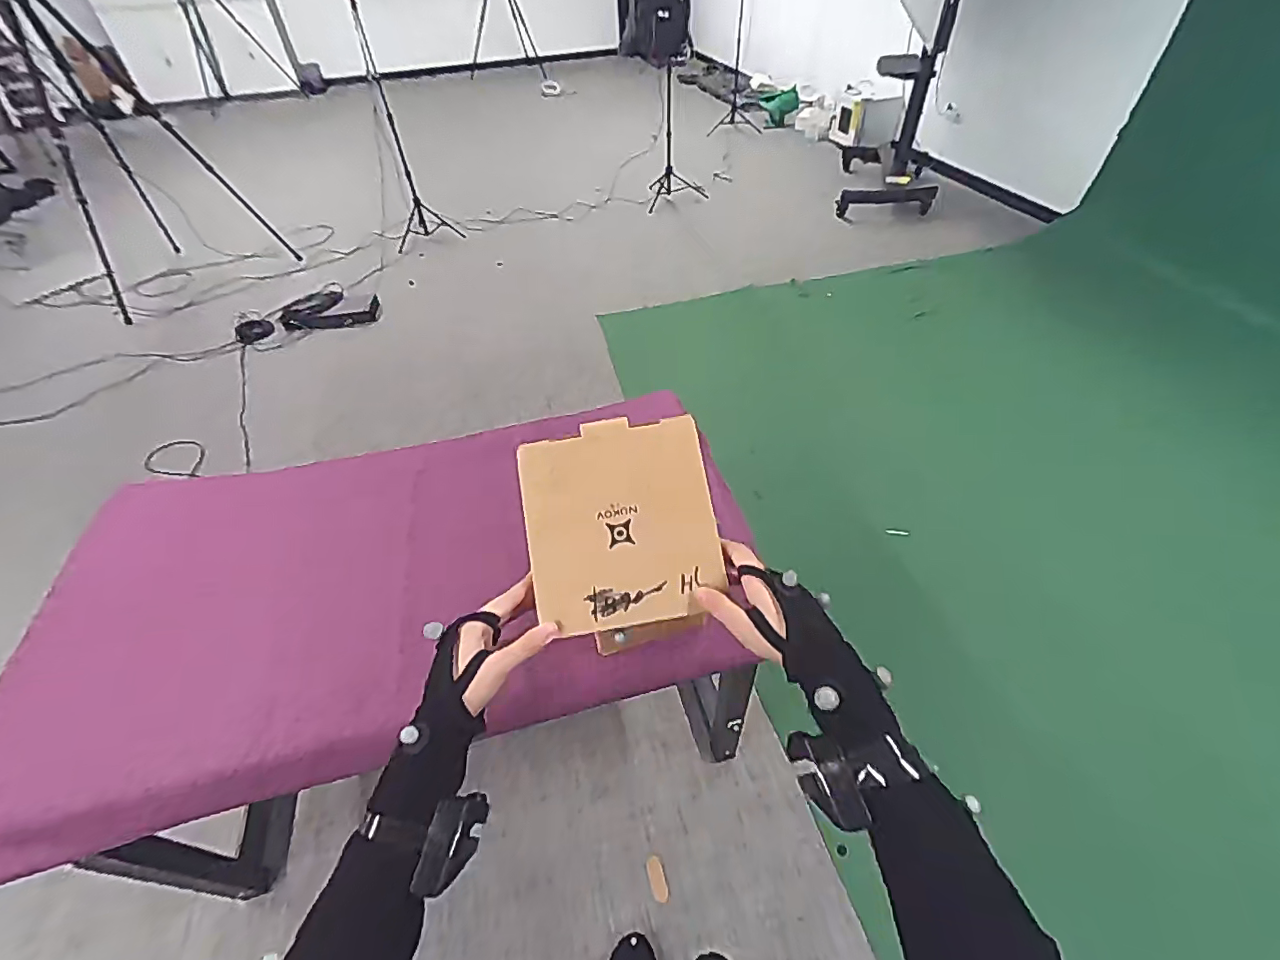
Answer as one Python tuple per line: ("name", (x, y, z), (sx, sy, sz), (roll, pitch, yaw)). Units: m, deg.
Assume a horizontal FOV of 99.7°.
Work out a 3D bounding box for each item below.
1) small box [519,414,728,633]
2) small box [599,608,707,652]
("small box", (-0.013, 0.054, 0.555), (0.168, 0.176, 0.179), (-11, 76, 2))
("small box", (0.003, 0.139, 0.841), (0.179, 0.176, 0.168), (-16, 49, -8))
